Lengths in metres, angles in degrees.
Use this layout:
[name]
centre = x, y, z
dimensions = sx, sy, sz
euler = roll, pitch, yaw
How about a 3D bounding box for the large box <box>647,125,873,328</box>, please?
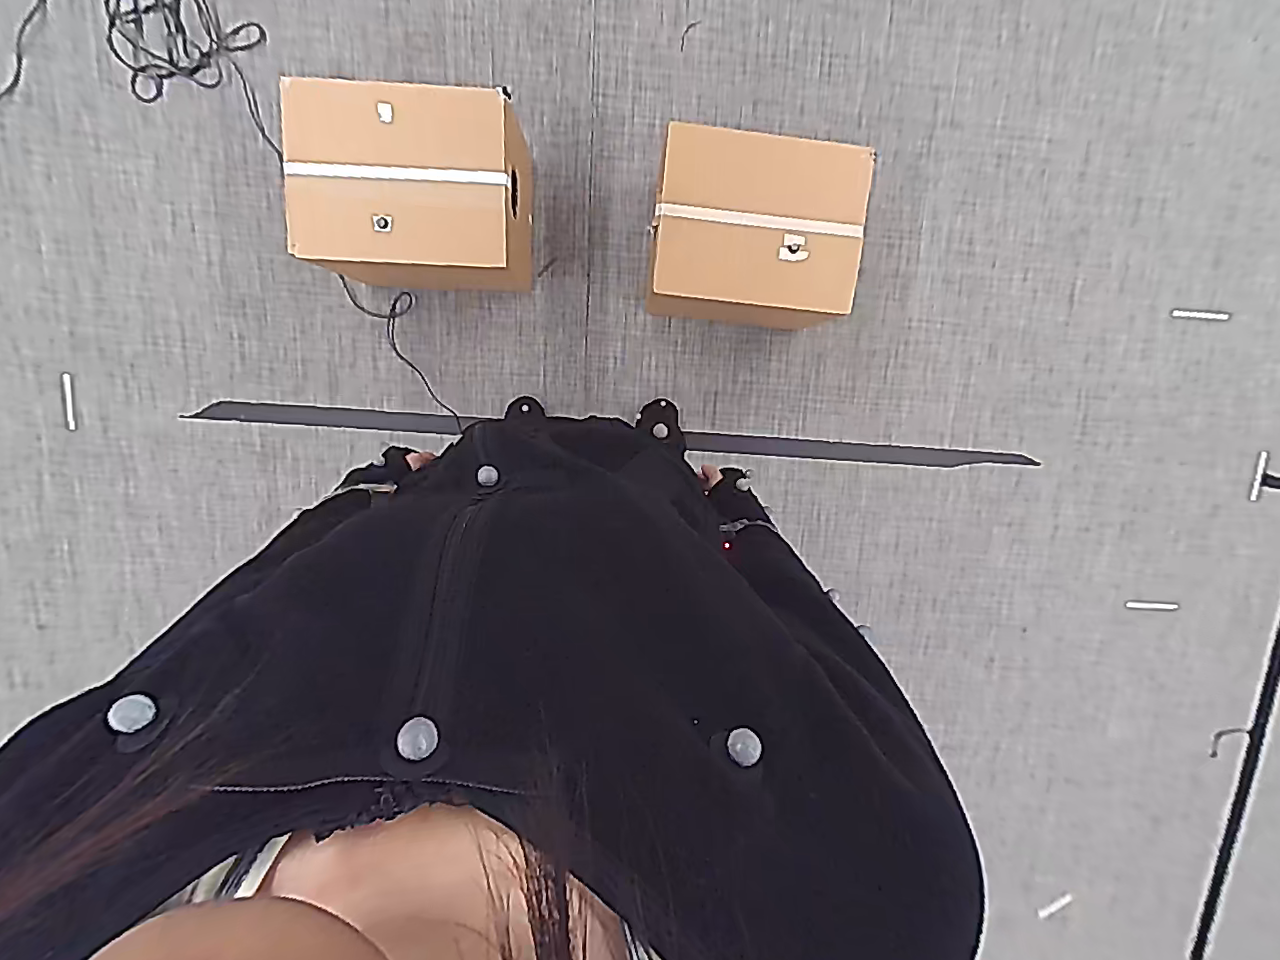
[large box]
centre = 0.233, -0.531, 1.205
dimensions = 0.408, 0.320, 0.320
euler = 5, 100, -4
